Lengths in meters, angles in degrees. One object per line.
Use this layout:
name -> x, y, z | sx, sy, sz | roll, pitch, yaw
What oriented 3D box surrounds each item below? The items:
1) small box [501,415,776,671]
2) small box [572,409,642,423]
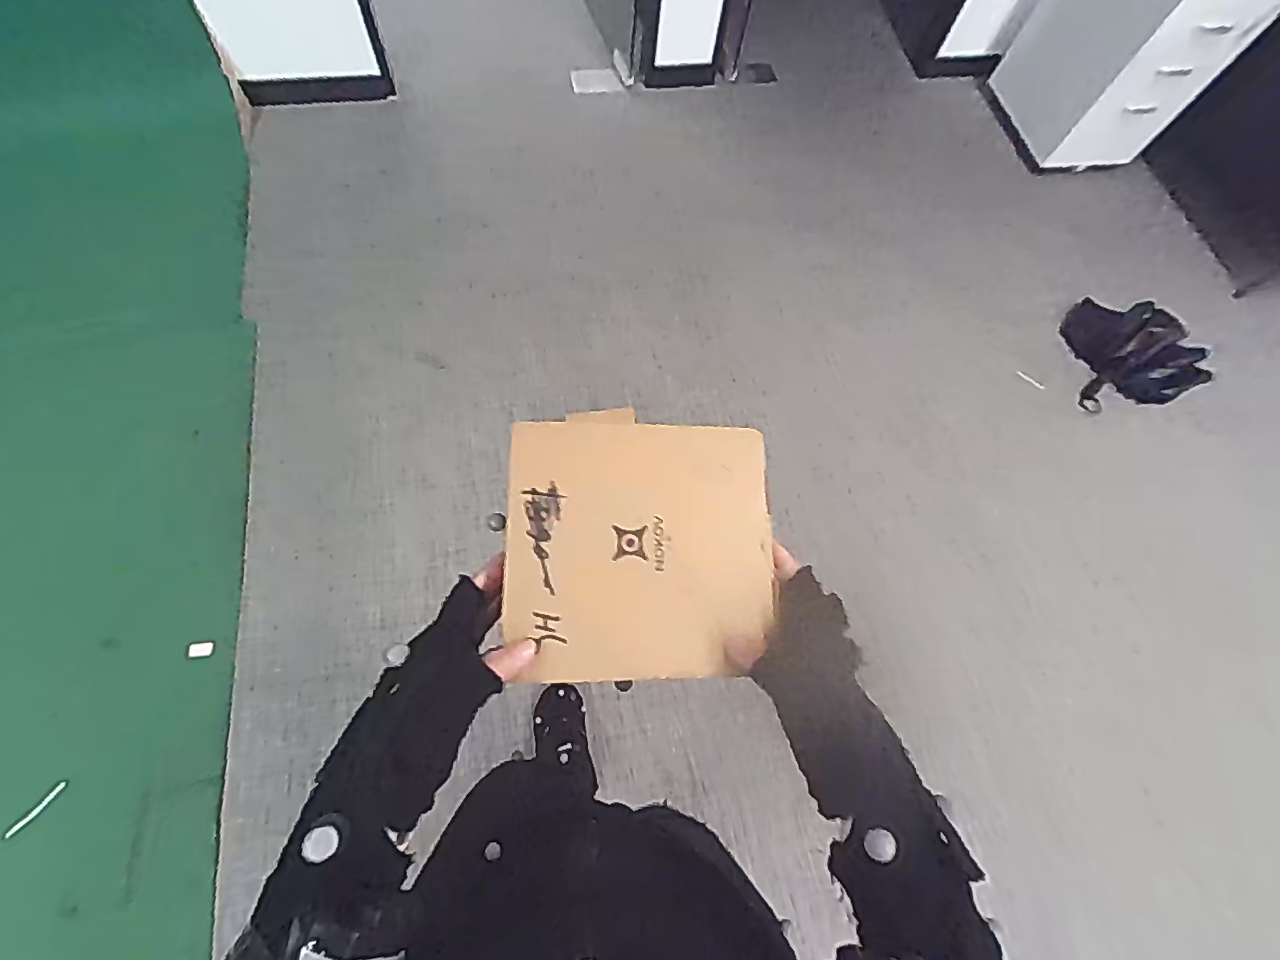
small box -> -0.009, 0.060, 0.432 | 0.179, 0.176, 0.168 | 2, 74, -8
small box -> -0.085, -0.070, 1.404 | 0.179, 0.176, 0.168 | -4, 66, -7
